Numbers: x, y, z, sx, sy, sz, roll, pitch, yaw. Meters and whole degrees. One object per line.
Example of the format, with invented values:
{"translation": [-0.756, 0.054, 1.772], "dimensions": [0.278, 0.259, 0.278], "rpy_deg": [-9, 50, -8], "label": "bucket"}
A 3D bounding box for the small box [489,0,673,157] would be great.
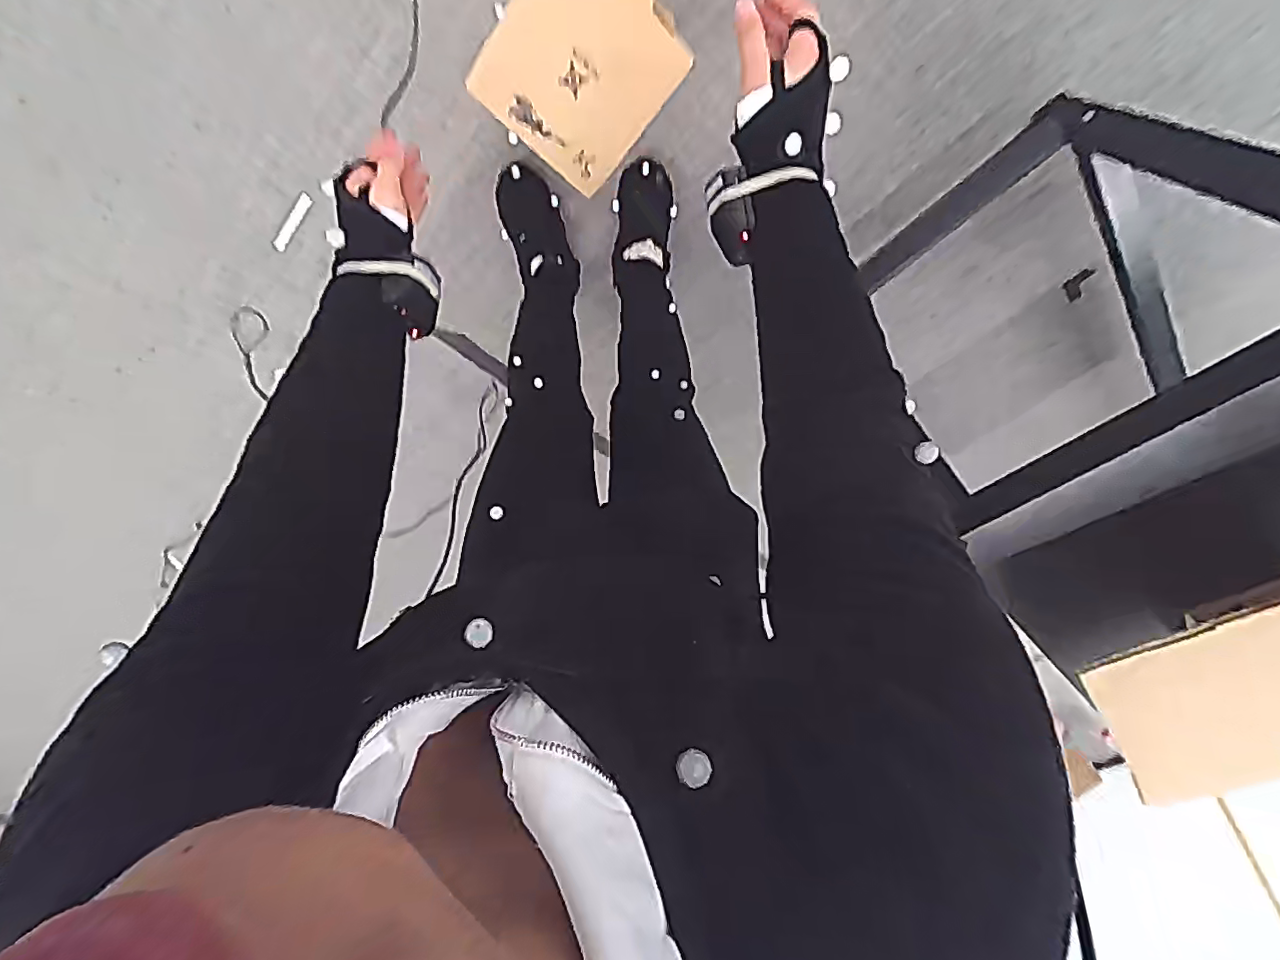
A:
{"translation": [-0.079, -0.583, 0.725], "dimensions": [0.168, 0.176, 0.179], "rpy_deg": [28, 123, -28], "label": "small box"}
